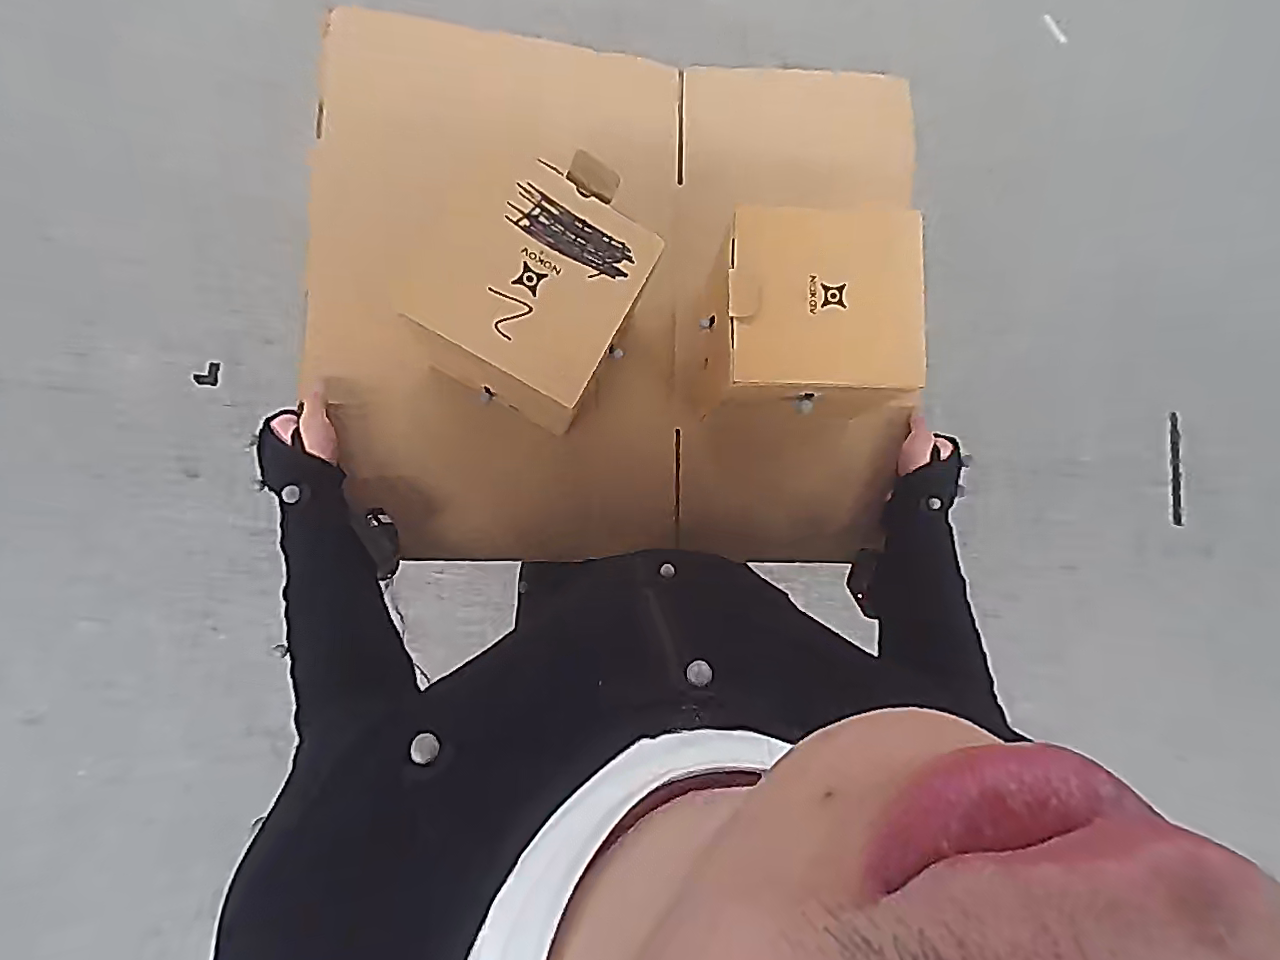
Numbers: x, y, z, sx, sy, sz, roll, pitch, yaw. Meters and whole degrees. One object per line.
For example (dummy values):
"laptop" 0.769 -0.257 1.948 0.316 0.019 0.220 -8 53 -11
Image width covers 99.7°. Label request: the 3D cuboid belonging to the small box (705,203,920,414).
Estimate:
"small box" 0.169 -0.167 0.577 0.179 0.176 0.168 1 86 -1
